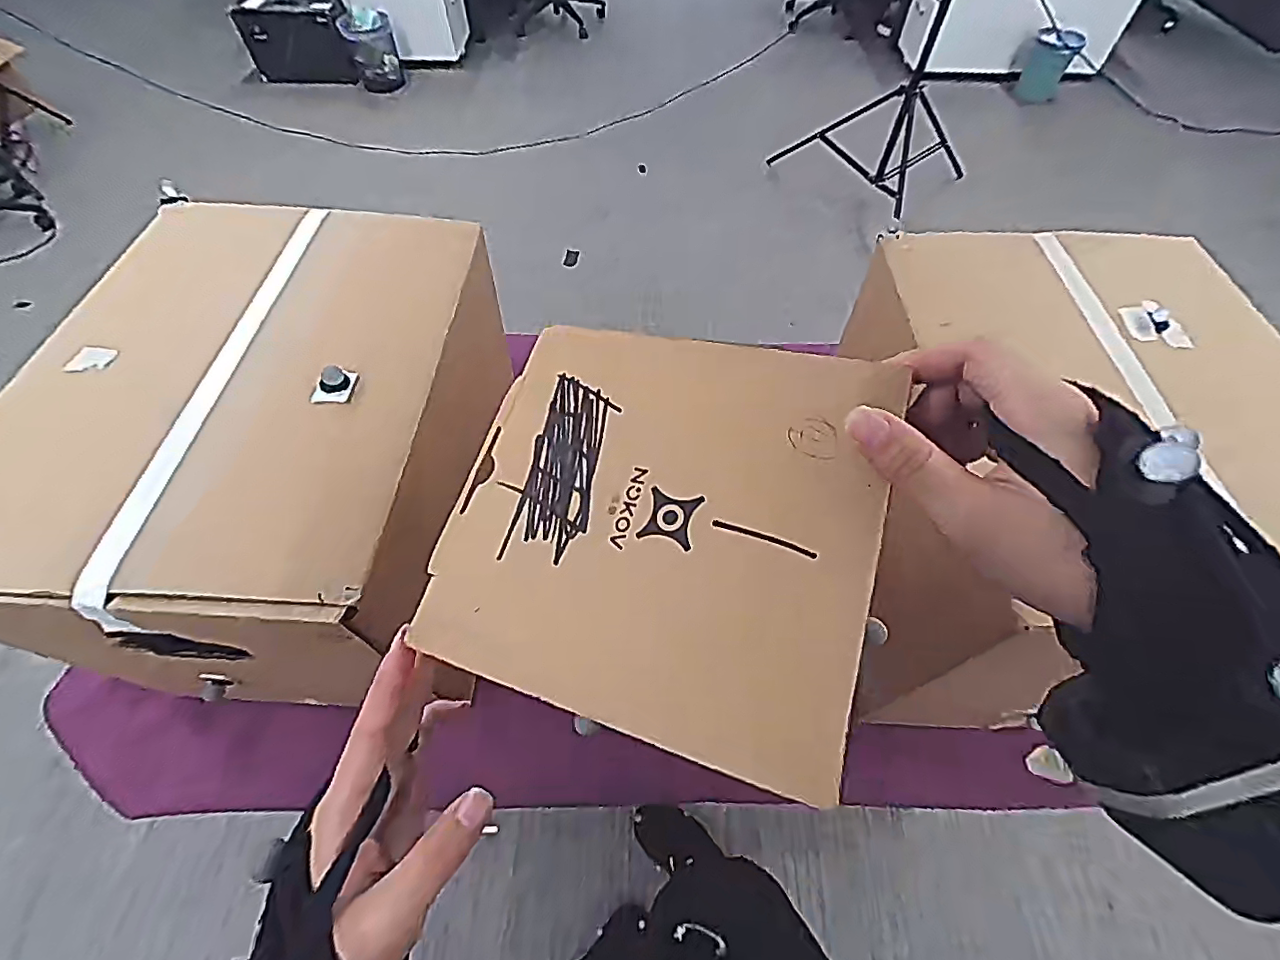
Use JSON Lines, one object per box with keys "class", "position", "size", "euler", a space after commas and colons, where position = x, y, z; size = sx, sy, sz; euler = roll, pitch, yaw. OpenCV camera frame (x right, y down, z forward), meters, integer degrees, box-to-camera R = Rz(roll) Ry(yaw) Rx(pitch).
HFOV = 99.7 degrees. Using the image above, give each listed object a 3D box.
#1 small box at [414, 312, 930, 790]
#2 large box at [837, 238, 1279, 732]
{"class": "small box", "position": [0.029, 0.037, 0.287], "size": [0.179, 0.176, 0.168], "euler": [13, 72, 20]}
{"class": "large box", "position": [0.380, 0.014, 0.548], "size": [0.320, 0.320, 0.408], "euler": [2, 55, 0]}
